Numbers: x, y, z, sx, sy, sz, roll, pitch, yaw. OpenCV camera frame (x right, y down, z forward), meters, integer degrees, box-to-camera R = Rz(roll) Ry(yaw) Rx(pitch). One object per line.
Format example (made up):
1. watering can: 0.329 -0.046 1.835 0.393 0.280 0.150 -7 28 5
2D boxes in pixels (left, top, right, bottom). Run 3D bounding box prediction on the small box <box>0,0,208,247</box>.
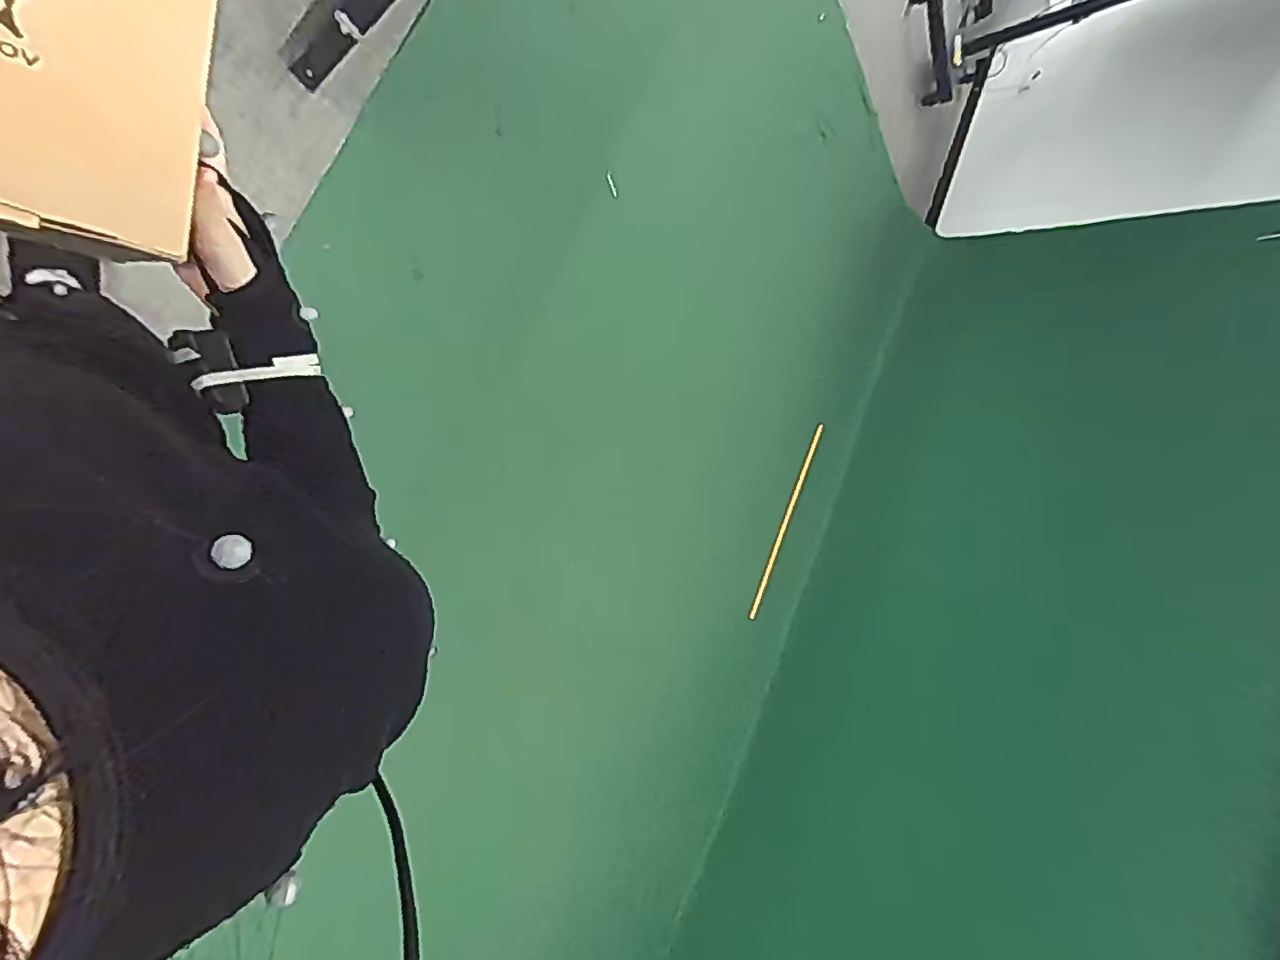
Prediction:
1. small box: -0.370 -0.247 0.294 0.168 0.176 0.179 4 103 -55
